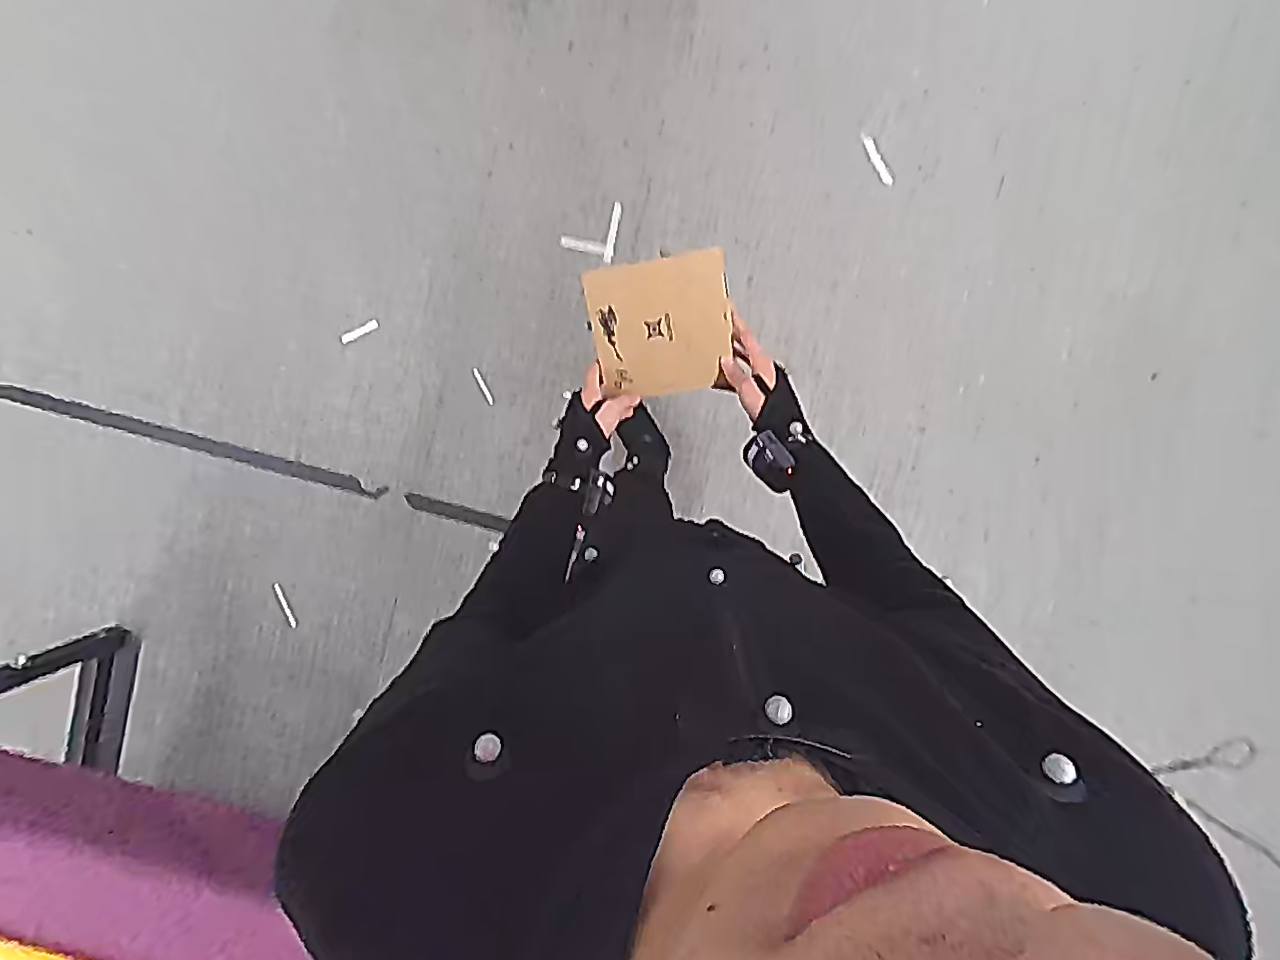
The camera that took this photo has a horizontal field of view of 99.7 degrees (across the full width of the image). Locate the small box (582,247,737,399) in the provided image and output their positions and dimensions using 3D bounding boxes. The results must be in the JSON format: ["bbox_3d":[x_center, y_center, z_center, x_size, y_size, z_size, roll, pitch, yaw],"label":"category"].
[{"bbox_3d":[0.032,-0.223,0.749,0.179,0.176,0.168,-8,111,8],"label":"small box"}]
